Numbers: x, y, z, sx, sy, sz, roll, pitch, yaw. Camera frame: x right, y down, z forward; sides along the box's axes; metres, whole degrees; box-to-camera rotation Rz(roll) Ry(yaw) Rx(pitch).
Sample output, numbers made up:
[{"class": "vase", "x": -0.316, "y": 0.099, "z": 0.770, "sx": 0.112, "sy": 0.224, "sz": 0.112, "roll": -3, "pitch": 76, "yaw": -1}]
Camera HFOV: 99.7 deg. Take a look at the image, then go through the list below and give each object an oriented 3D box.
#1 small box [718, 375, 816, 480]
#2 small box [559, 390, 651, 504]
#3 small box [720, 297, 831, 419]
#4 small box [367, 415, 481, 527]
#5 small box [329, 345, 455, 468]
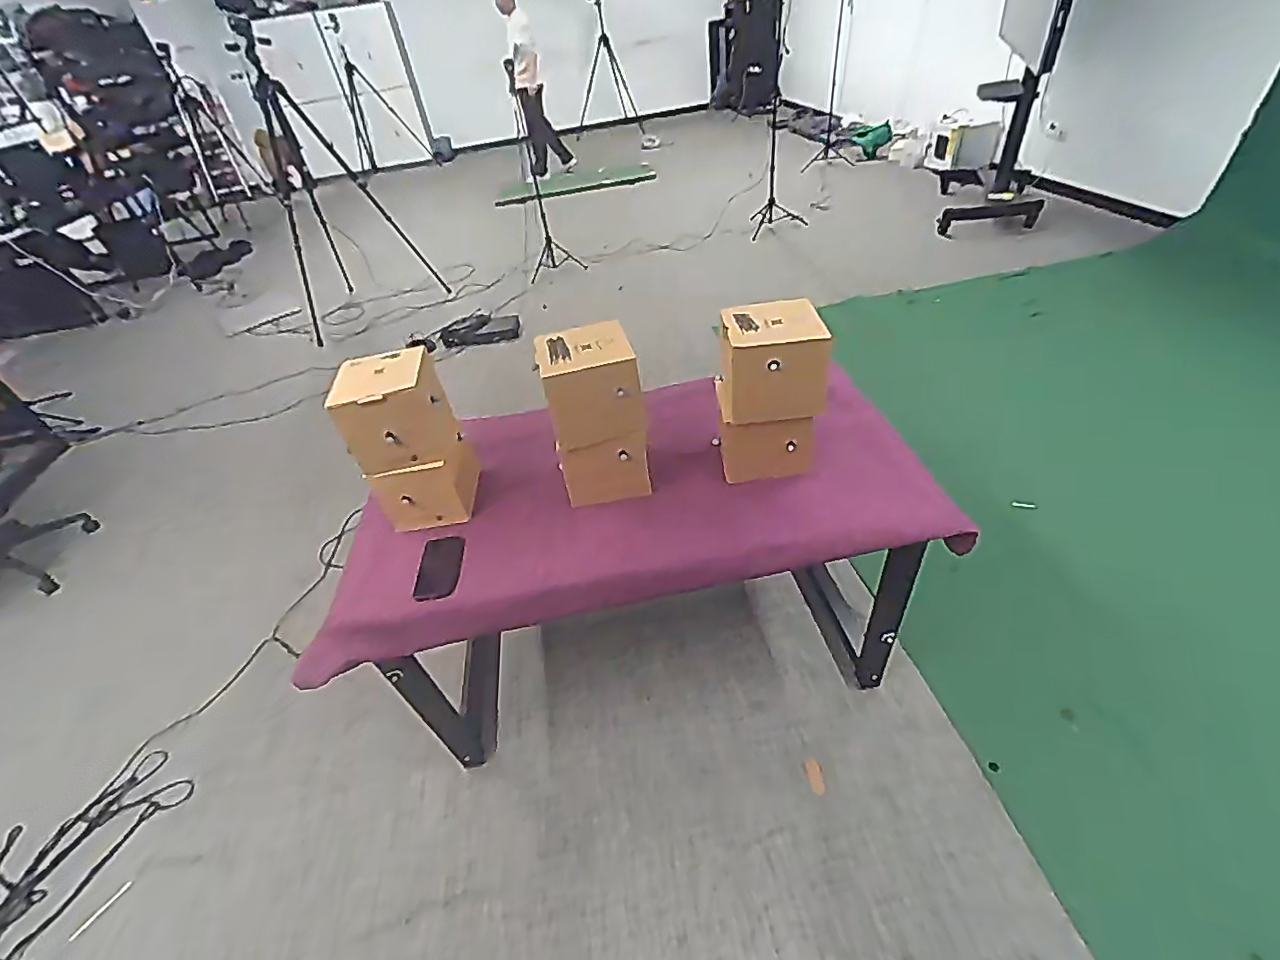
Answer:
[{"class": "small box", "x": 0.264, "y": -0.119, "z": 1.163, "sx": 0.179, "sy": 0.176, "sz": 0.168, "roll": -6, "pitch": 41, "yaw": 5}, {"class": "small box", "x": -0.073, "y": -0.070, "z": 1.170, "sx": 0.179, "sy": 0.176, "sz": 0.168, "roll": -10, "pitch": 41, "yaw": 0}, {"class": "small box", "x": 0.253, "y": -0.232, "z": 1.043, "sx": 0.179, "sy": 0.176, "sz": 0.168, "roll": -6, "pitch": 41, "yaw": 4}, {"class": "small box", "x": -0.460, "y": -0.014, "z": 1.184, "sx": 0.168, "sy": 0.176, "sz": 0.179, "roll": -10, "pitch": 41, "yaw": 0}, {"class": "small box", "x": -0.482, "y": -0.140, "z": 1.082, "sx": 0.168, "sy": 0.176, "sz": 0.179, "roll": -13, "pitch": 42, "yaw": -4}]
